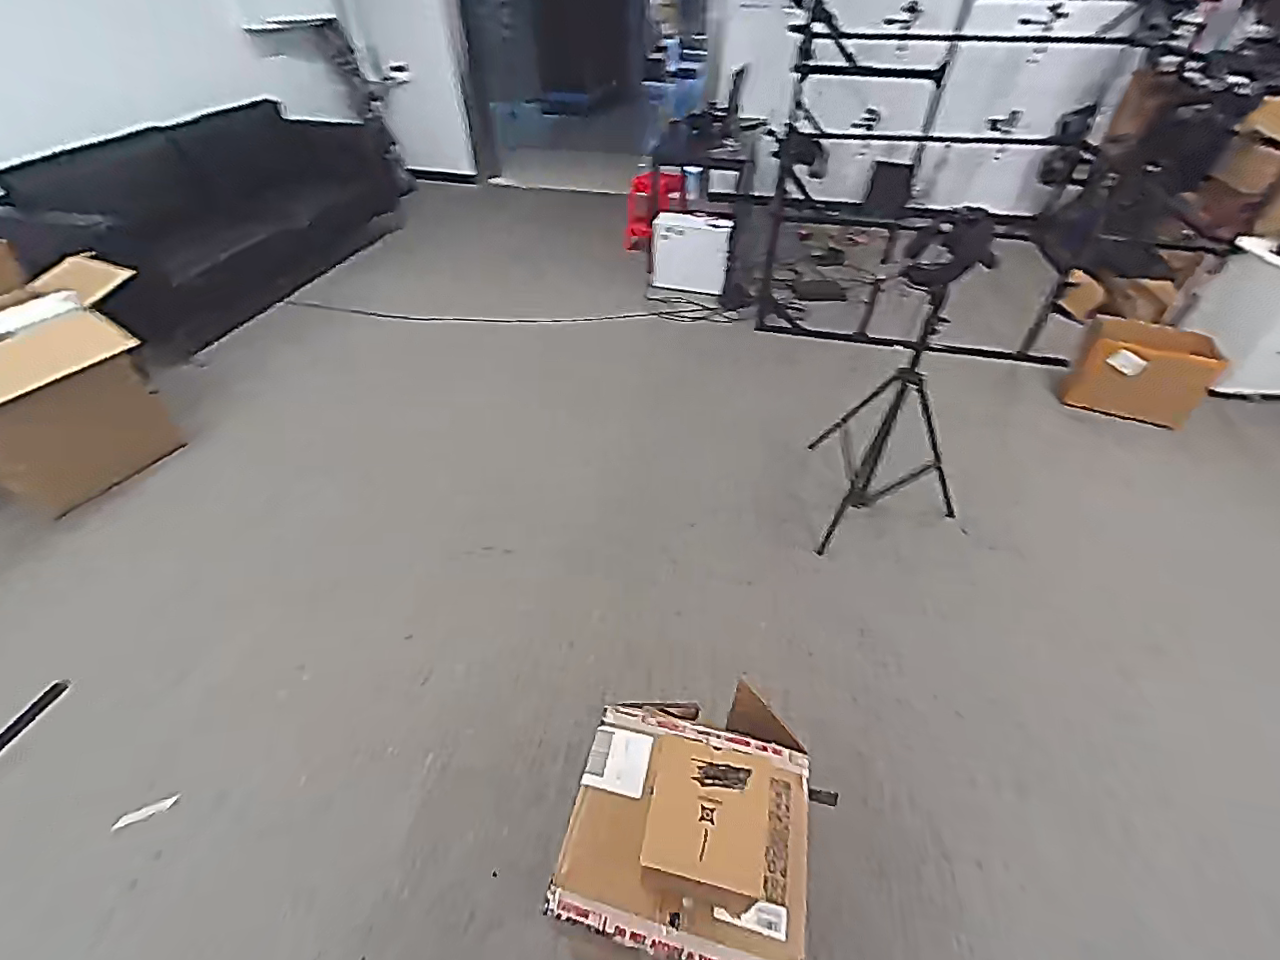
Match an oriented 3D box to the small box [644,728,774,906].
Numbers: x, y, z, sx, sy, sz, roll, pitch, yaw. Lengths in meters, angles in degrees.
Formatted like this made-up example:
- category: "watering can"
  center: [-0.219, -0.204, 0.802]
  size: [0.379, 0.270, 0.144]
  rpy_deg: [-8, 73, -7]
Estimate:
- category: "small box"
  center: [0.102, 0.515, 0.828]
  size: [0.168, 0.176, 0.179]
  rpy_deg: [10, 47, 10]
